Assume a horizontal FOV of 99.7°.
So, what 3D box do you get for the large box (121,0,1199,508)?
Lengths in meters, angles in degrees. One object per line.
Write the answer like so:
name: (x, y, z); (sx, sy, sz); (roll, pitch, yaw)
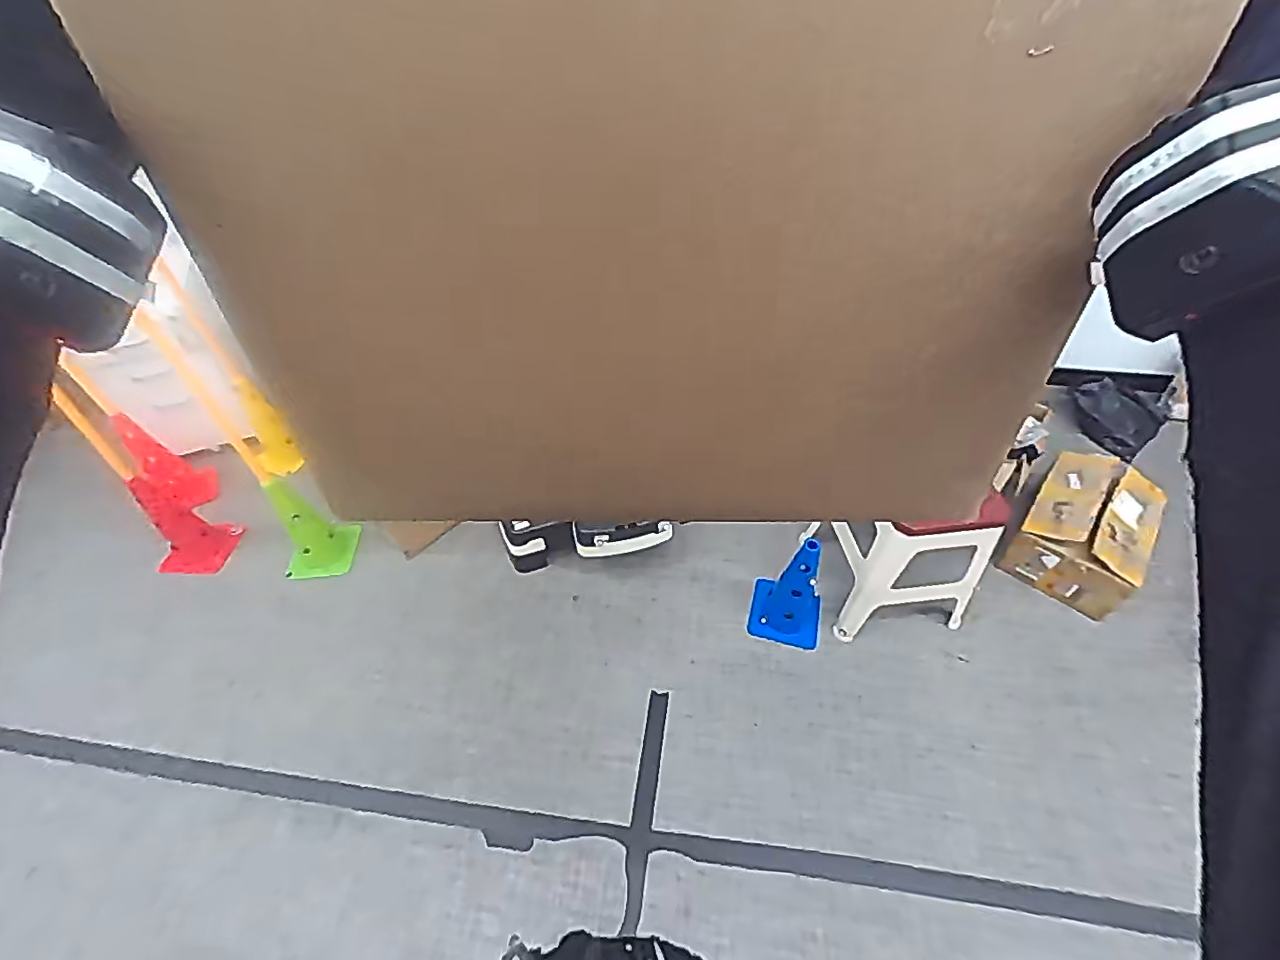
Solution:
large box: (0.007, -0.192, 0.371); (0.408, 0.320, 0.320); (0, 41, 1)
